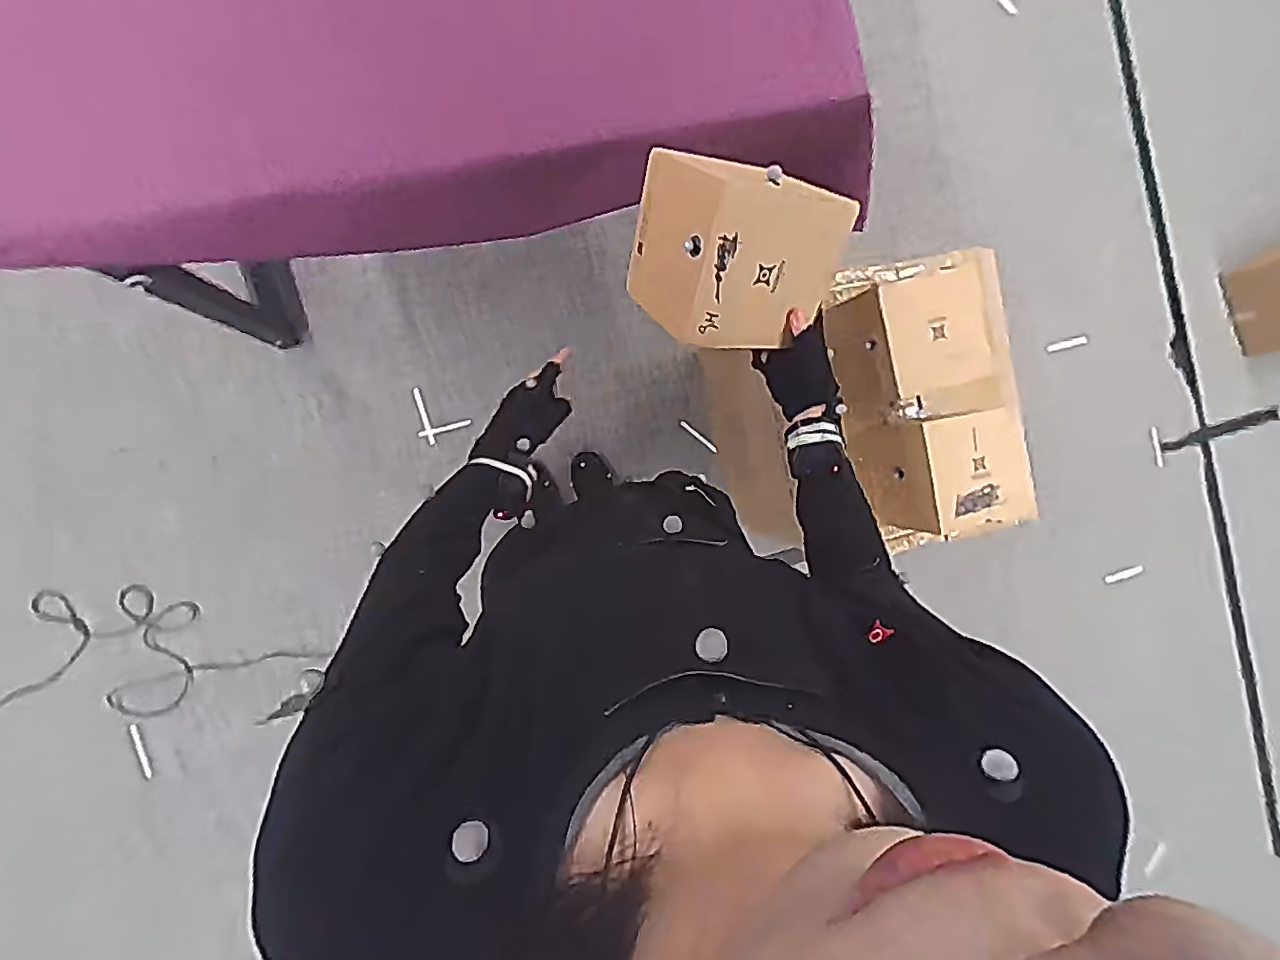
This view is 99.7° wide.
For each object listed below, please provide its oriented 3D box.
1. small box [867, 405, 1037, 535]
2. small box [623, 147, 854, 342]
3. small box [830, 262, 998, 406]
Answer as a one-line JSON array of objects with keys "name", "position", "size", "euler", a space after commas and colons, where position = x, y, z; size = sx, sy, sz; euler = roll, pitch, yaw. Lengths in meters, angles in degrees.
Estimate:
[{"name": "small box", "position": [0.505, -0.017, 0.896], "size": [0.168, 0.176, 0.179], "euler": [-11, 91, -8]}, {"name": "small box", "position": [0.101, -0.272, 0.629], "size": [0.179, 0.176, 0.168], "euler": [-7, 129, -26]}, {"name": "small box", "position": [0.433, -0.228, 0.880], "size": [0.168, 0.176, 0.179], "euler": [-14, 95, -7]}]
